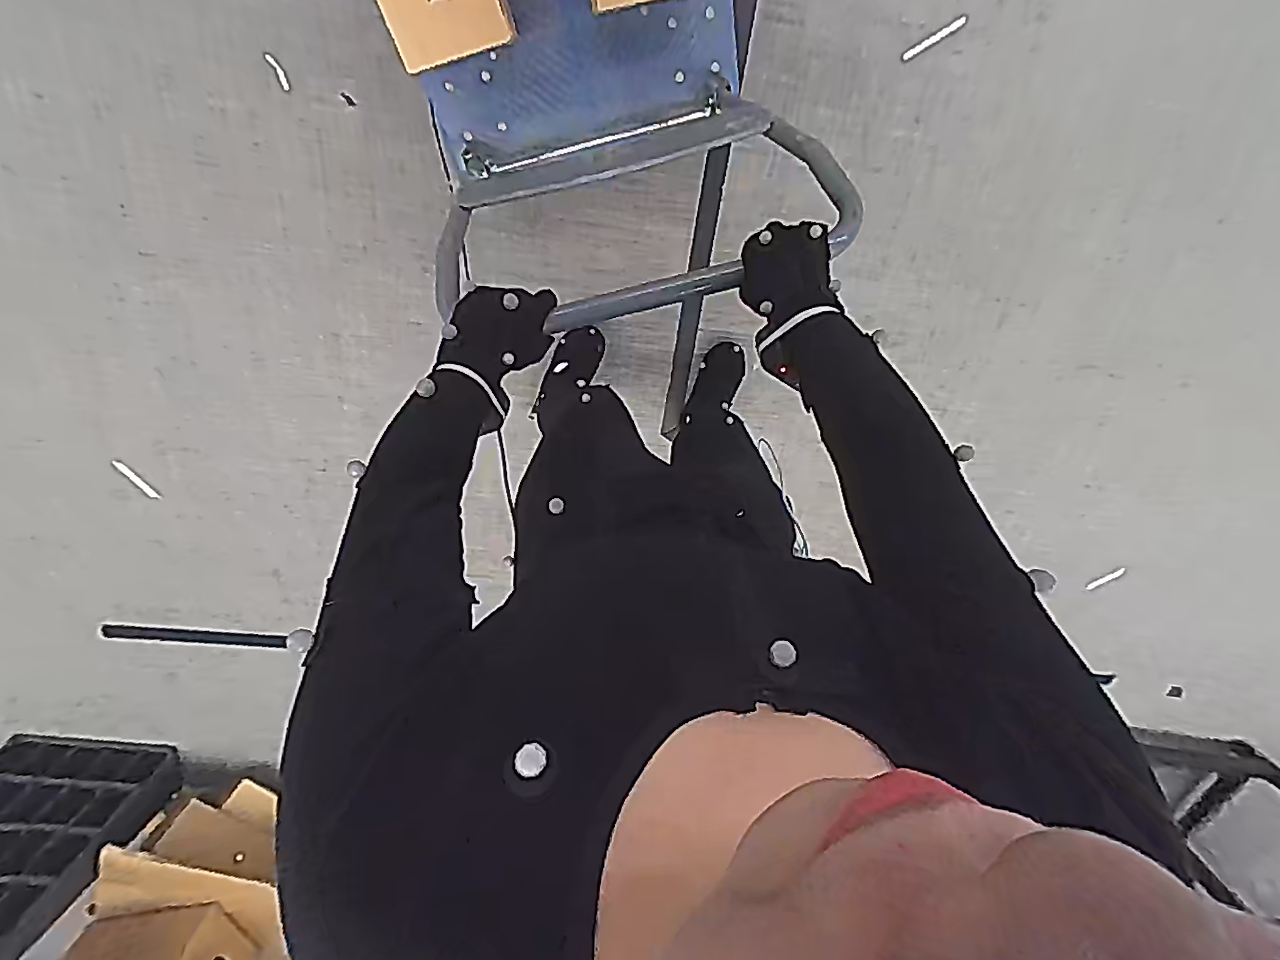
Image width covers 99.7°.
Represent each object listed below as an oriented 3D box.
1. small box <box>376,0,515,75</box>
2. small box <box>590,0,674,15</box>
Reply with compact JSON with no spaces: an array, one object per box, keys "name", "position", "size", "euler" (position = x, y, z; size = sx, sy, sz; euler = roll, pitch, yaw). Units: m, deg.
[{"name":"small box","position":[-0.310,-0.764,0.854],"size":[0.179,0.176,0.168],"euler":[-17,129,3]},{"name":"small box","position":[-0.003,-0.841,0.834],"size":[0.179,0.176,0.168],"euler":[-12,130,1]}]
